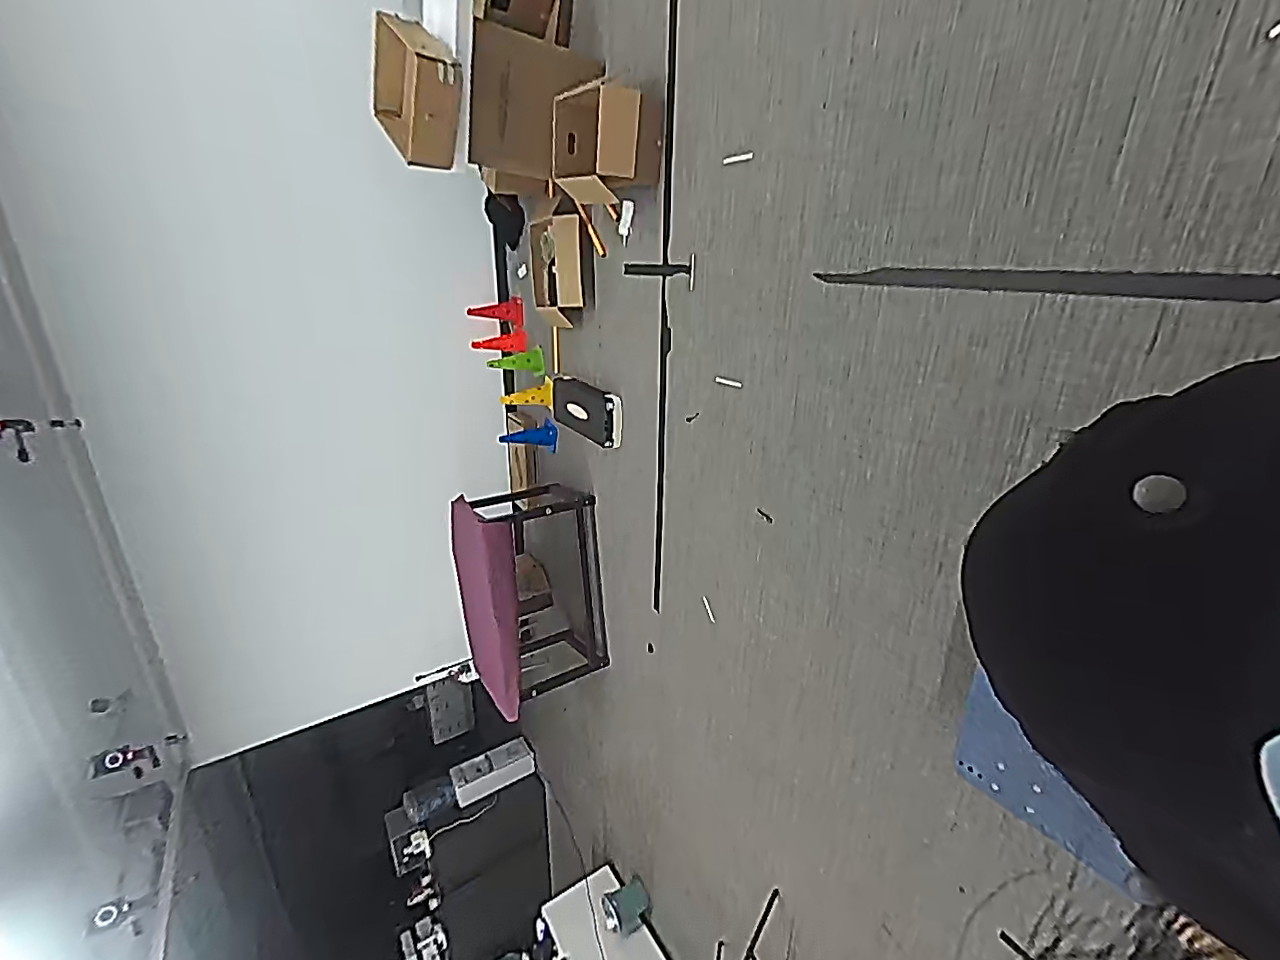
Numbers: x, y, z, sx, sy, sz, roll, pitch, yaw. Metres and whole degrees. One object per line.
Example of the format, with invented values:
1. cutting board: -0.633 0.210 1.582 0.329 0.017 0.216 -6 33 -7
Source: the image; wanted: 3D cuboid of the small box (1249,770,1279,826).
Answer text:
1. small box: 1.093 0.618 0.869 0.168 0.176 0.179 22 118 54
